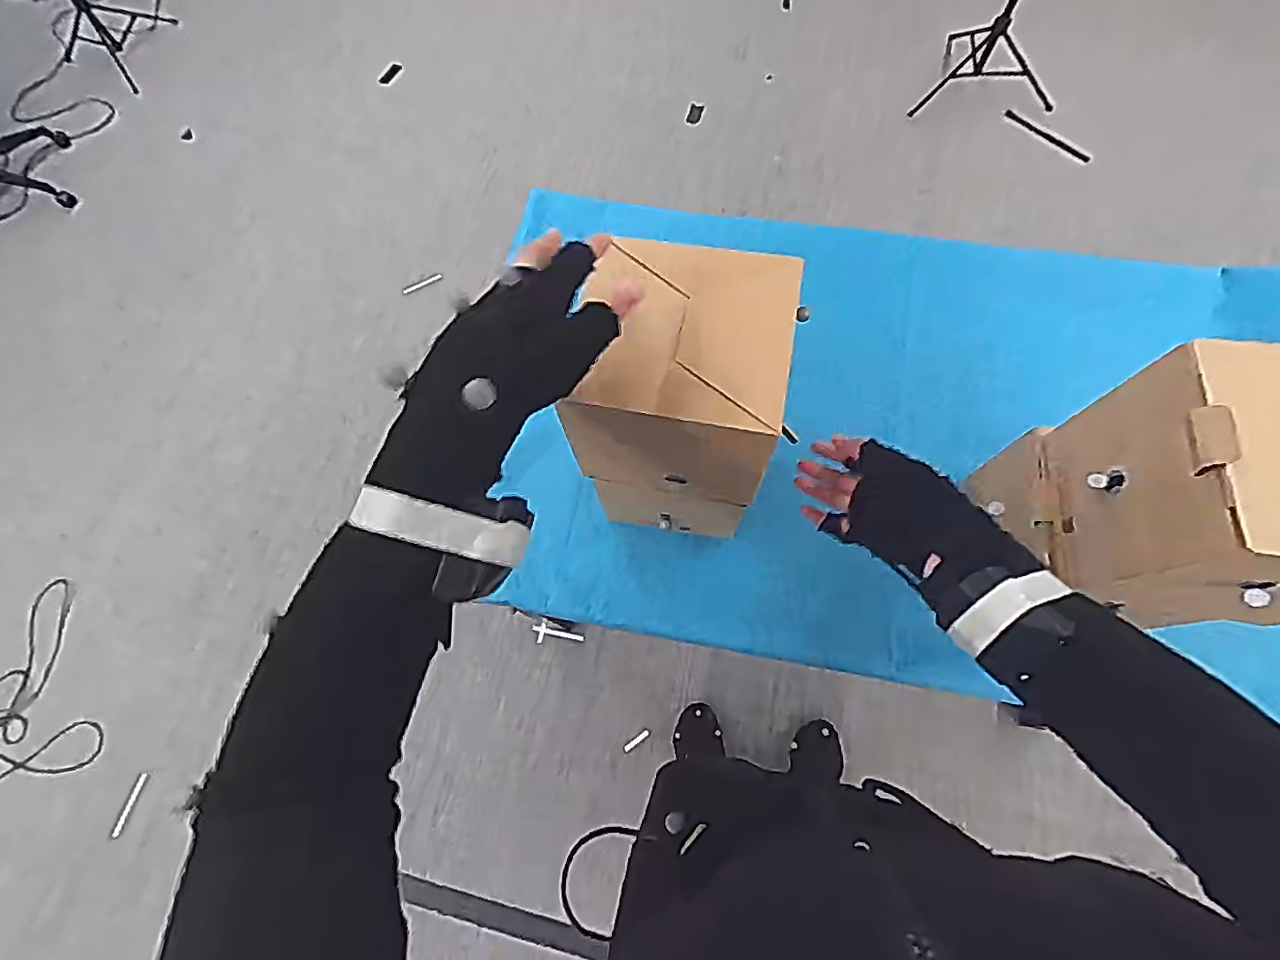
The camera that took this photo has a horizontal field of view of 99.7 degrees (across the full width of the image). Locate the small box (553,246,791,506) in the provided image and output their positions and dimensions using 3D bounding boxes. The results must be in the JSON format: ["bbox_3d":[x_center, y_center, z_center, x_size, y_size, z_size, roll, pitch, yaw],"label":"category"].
[{"bbox_3d":[0.036,-0.088,0.501,0.179,0.176,0.168,10,70,8],"label":"small box"}]

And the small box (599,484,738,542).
[{"bbox_3d":[0.047,-0.040,0.661,0.168,0.176,0.179,11,72,10],"label":"small box"}]

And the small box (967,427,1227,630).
[{"bbox_3d":[0.480,0.061,0.586,0.179,0.176,0.168,9,70,8],"label":"small box"}]

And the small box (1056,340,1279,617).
[{"bbox_3d":[0.474,0.010,0.432,0.179,0.176,0.168,5,69,6],"label":"small box"}]
